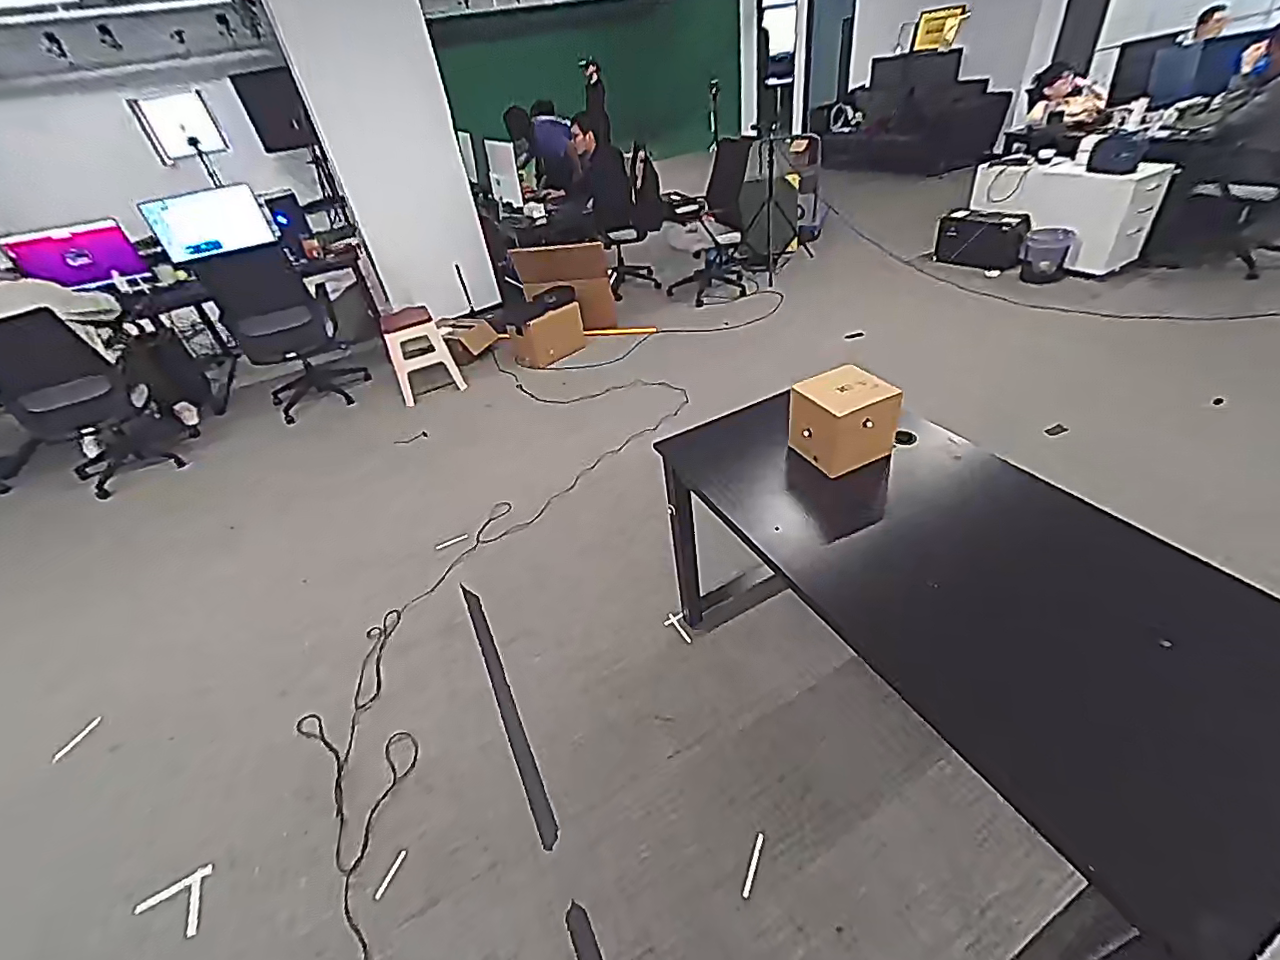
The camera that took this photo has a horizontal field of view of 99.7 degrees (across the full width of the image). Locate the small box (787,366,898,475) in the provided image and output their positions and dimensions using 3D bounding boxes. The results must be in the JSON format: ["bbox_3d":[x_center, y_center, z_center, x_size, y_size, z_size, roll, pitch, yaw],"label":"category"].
[{"bbox_3d":[0.462,-0.136,1.254,0.179,0.176,0.168,-21,39,-15],"label":"small box"}]
